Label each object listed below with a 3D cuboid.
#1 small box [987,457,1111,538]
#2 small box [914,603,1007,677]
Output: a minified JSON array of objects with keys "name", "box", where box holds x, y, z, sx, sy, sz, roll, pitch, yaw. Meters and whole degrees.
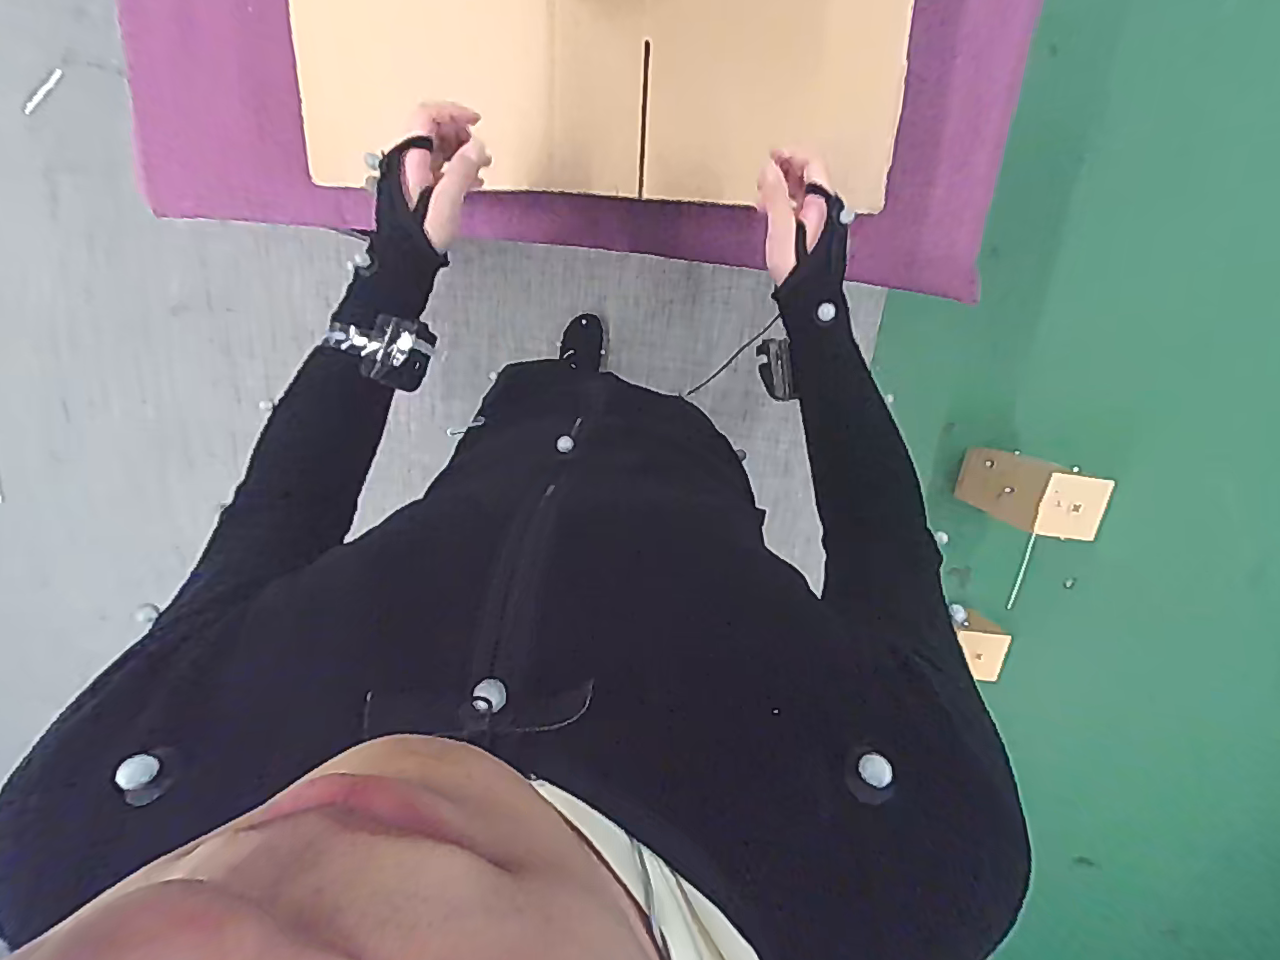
[{"name":"small box","box":[1.089,0.041,1.453,0.179,0.176,0.168,8,104,-5]},{"name":"small box","box":[1.033,0.515,1.756,0.179,0.176,0.168,7,106,-4]}]
